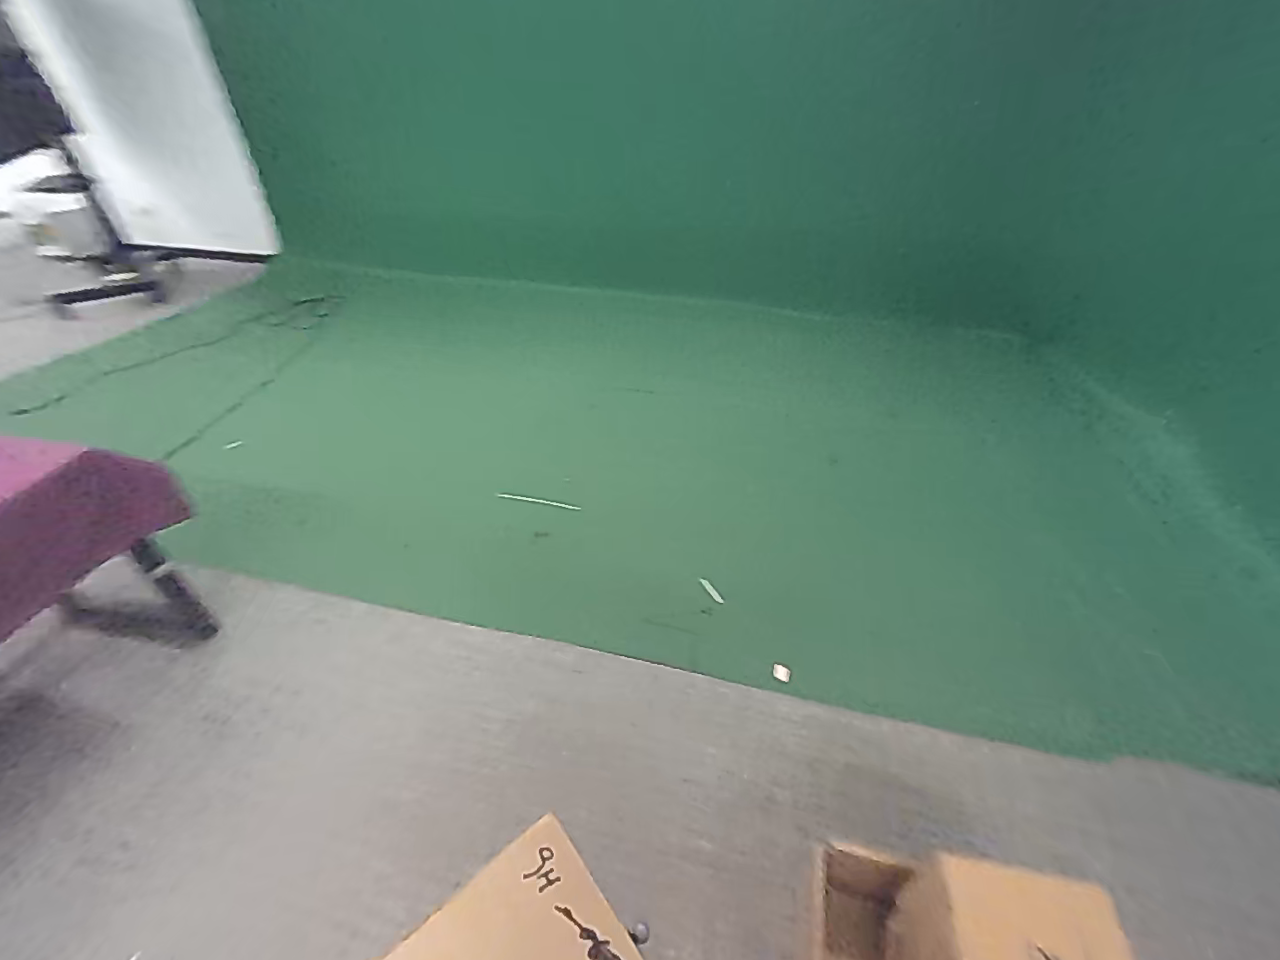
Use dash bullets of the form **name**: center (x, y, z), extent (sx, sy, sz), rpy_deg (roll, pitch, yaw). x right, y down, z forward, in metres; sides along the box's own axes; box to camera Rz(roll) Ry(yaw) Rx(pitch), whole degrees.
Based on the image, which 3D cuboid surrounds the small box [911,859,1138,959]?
- **small box**: center (0.417, 0.555, 0.592), extent (0.179, 0.176, 0.168), rpy_deg (8, 40, 9)
